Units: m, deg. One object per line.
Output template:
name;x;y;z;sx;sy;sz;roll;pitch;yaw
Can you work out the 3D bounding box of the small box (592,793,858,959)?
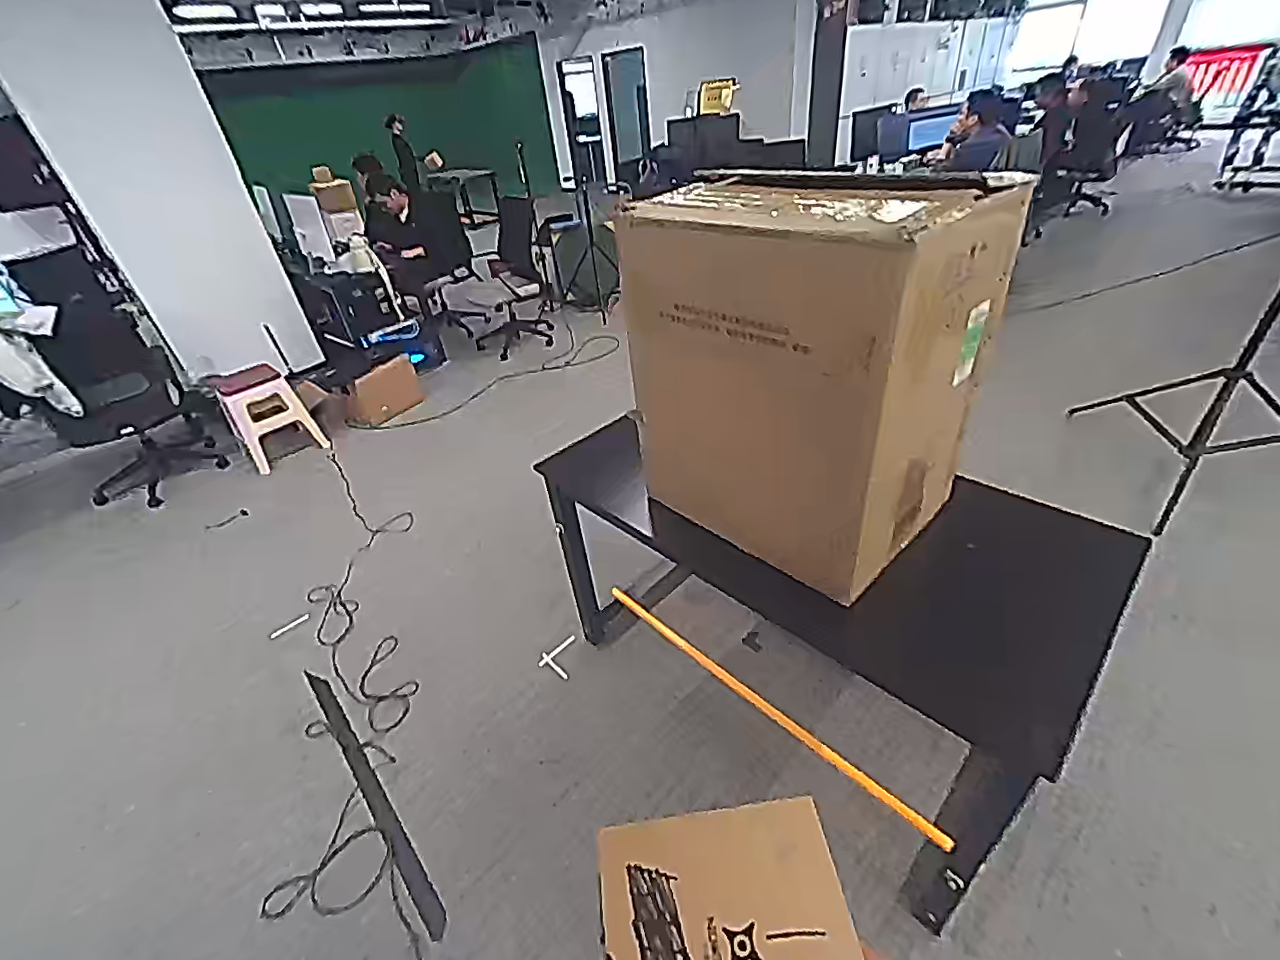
small box;0.060;0.372;0.422;0.179;0.176;0.168;-5;42;-3
